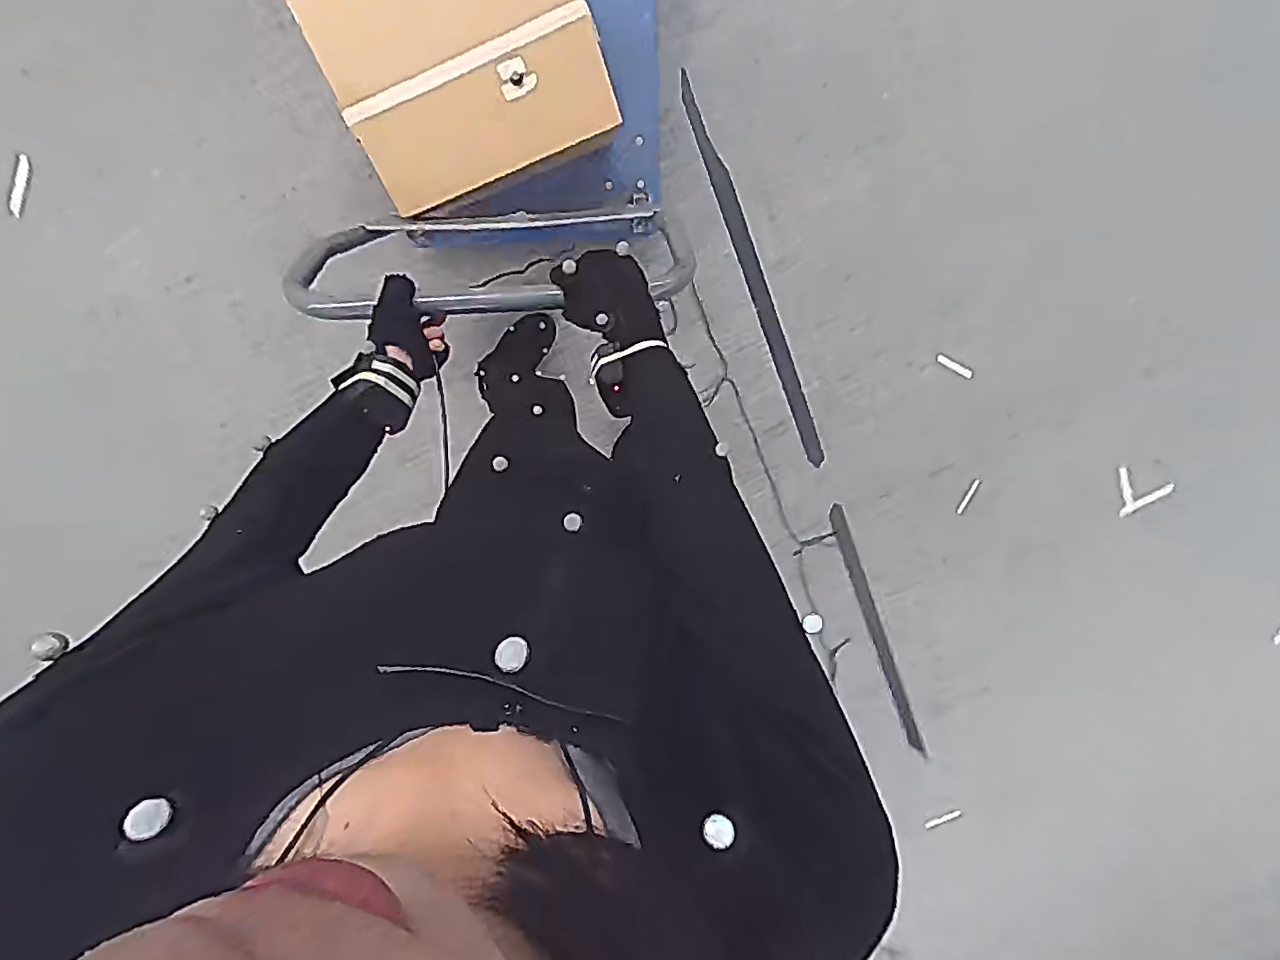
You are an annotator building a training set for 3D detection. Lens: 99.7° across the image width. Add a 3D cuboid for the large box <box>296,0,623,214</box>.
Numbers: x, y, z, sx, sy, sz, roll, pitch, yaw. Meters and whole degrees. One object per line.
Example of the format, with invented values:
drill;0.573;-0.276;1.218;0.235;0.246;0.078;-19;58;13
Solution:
large box;-0.279;-0.710;0.961;0.408;0.320;0.320;-22;118;4
